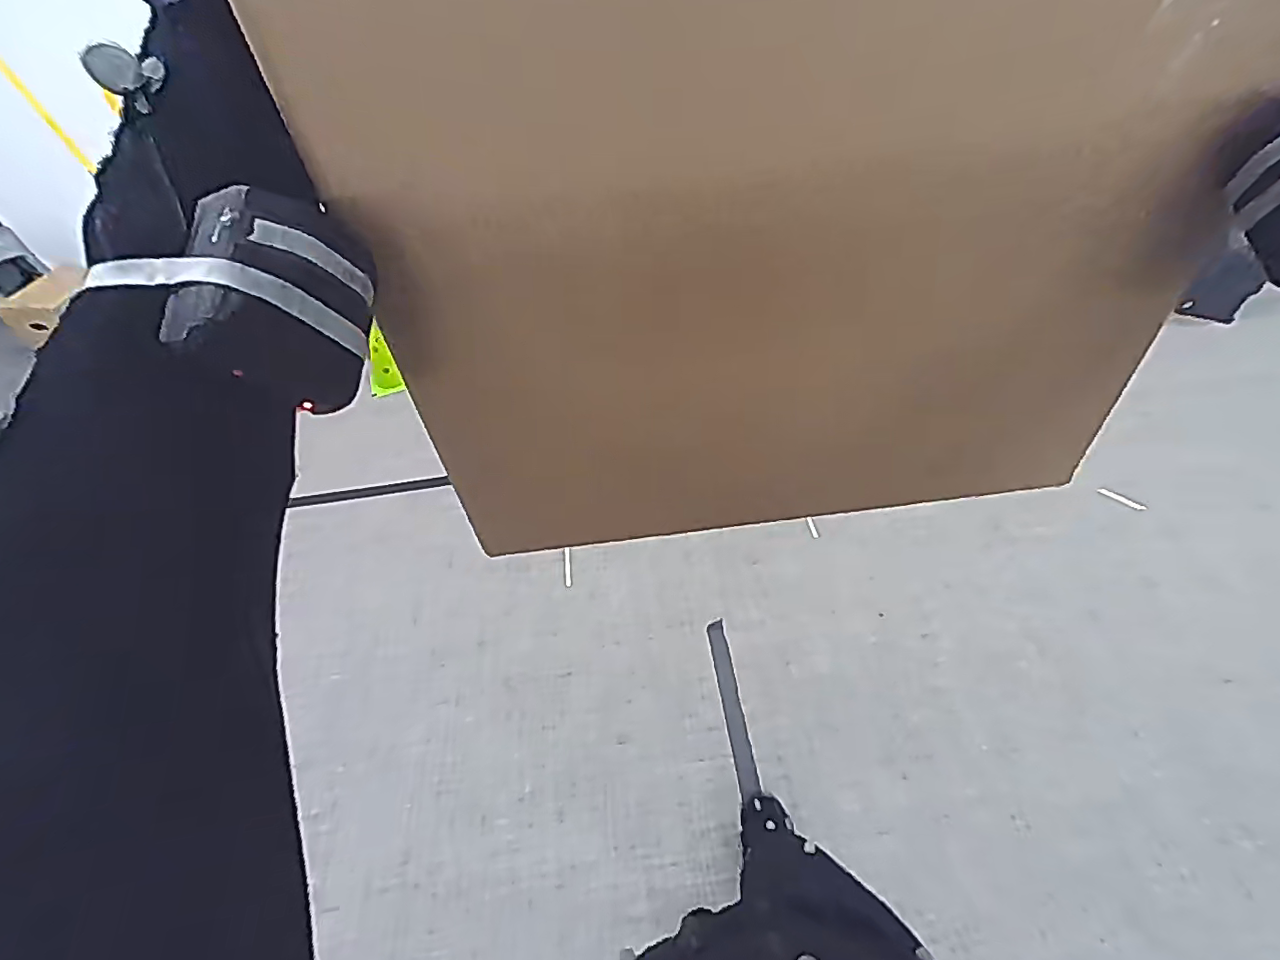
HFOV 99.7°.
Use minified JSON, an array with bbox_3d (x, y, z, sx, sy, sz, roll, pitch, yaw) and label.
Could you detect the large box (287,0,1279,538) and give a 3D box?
[{"bbox_3d":[0.063,-0.190,0.396,0.408,0.320,0.320,-7,43,-1],"label":"large box"}]
